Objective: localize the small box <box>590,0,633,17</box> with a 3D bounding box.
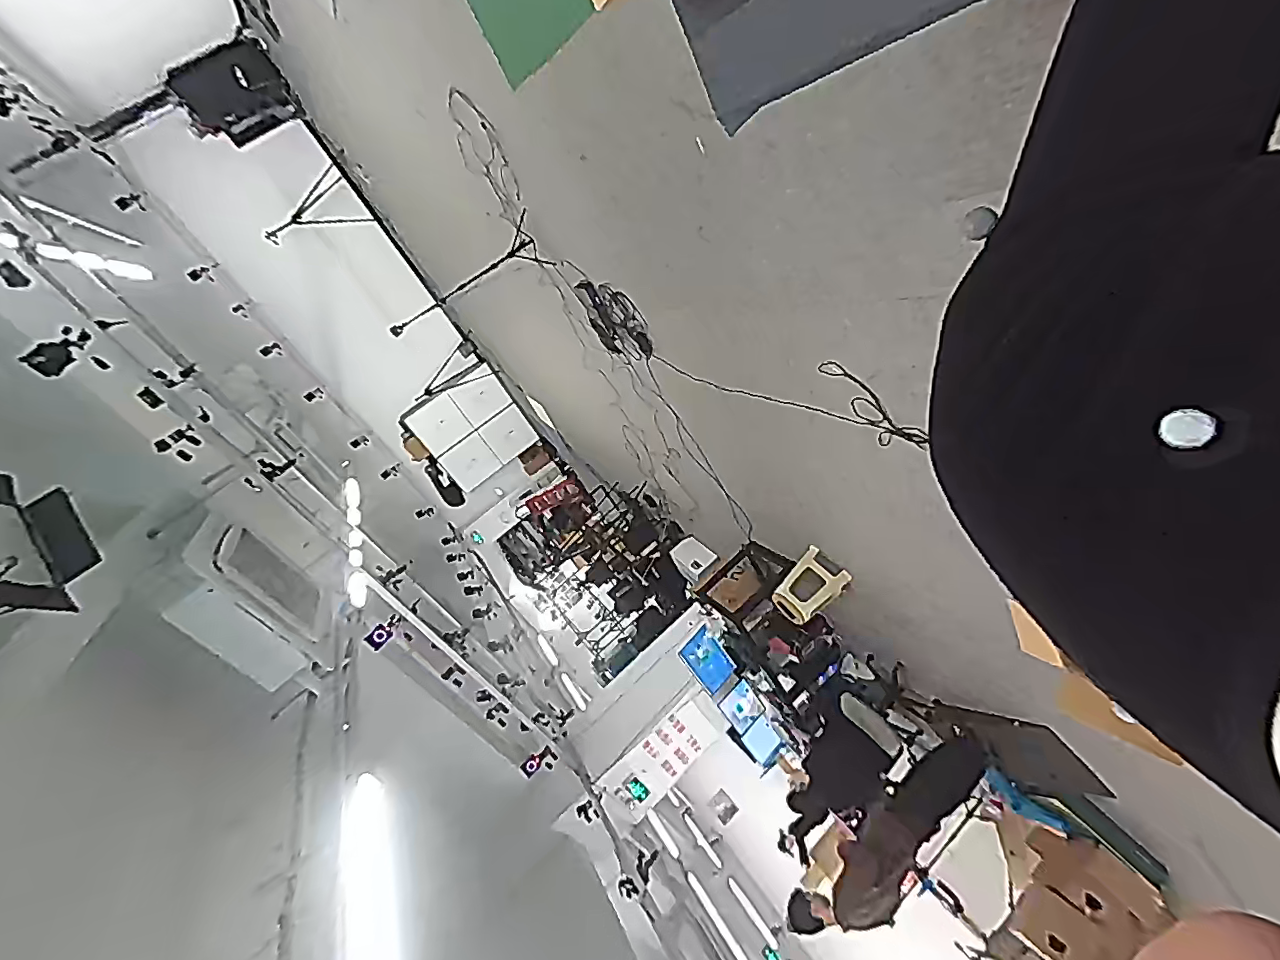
[{"bbox_3d":[-0.001,-0.860,0.815,0.179,0.176,0.168,30,154,55],"label":"small box"}]
